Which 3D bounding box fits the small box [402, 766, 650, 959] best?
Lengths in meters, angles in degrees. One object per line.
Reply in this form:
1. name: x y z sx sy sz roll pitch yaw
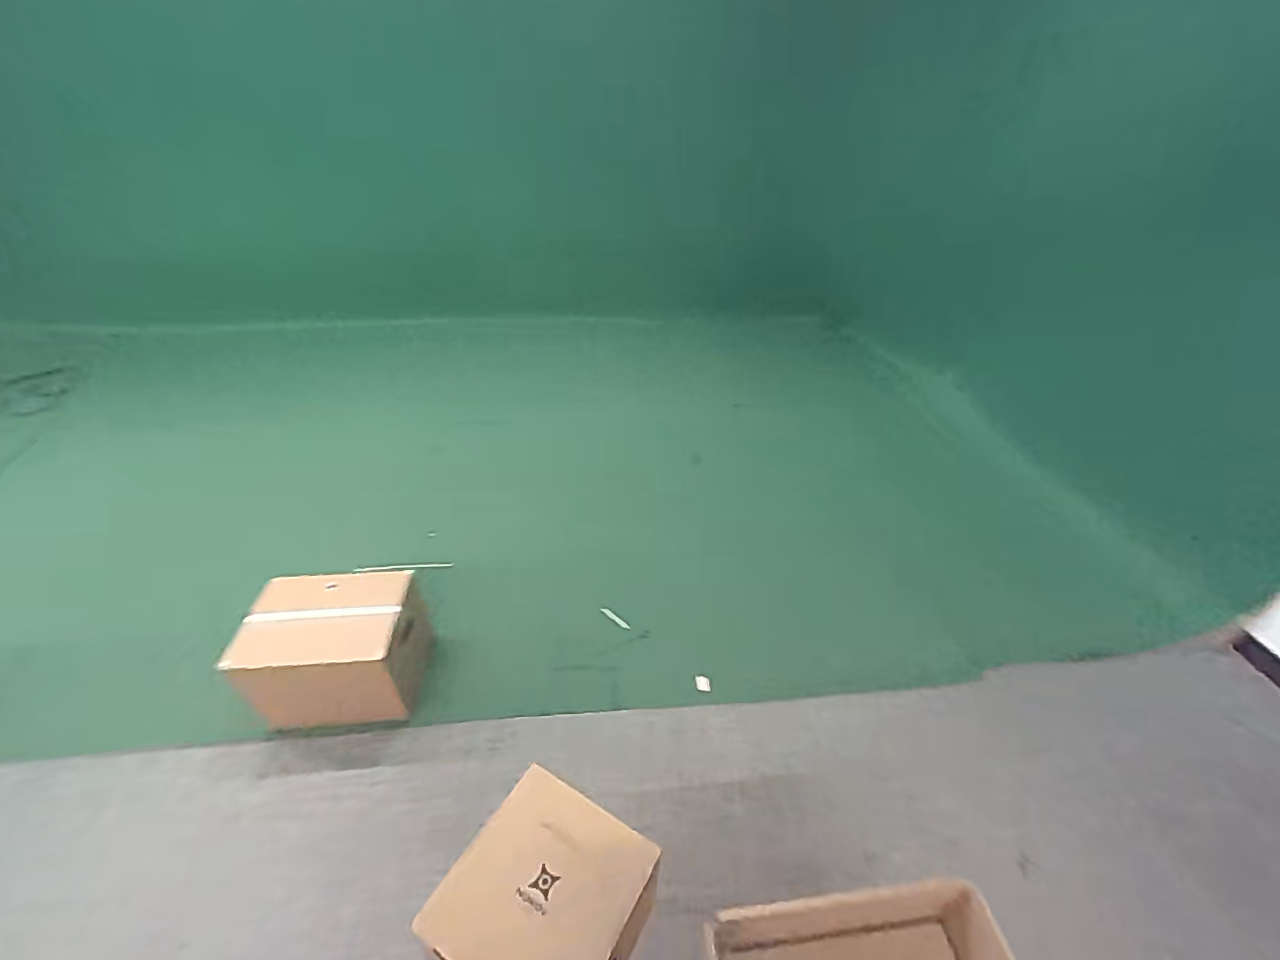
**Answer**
1. small box: -0.102 0.448 0.551 0.168 0.176 0.179 20 39 23
